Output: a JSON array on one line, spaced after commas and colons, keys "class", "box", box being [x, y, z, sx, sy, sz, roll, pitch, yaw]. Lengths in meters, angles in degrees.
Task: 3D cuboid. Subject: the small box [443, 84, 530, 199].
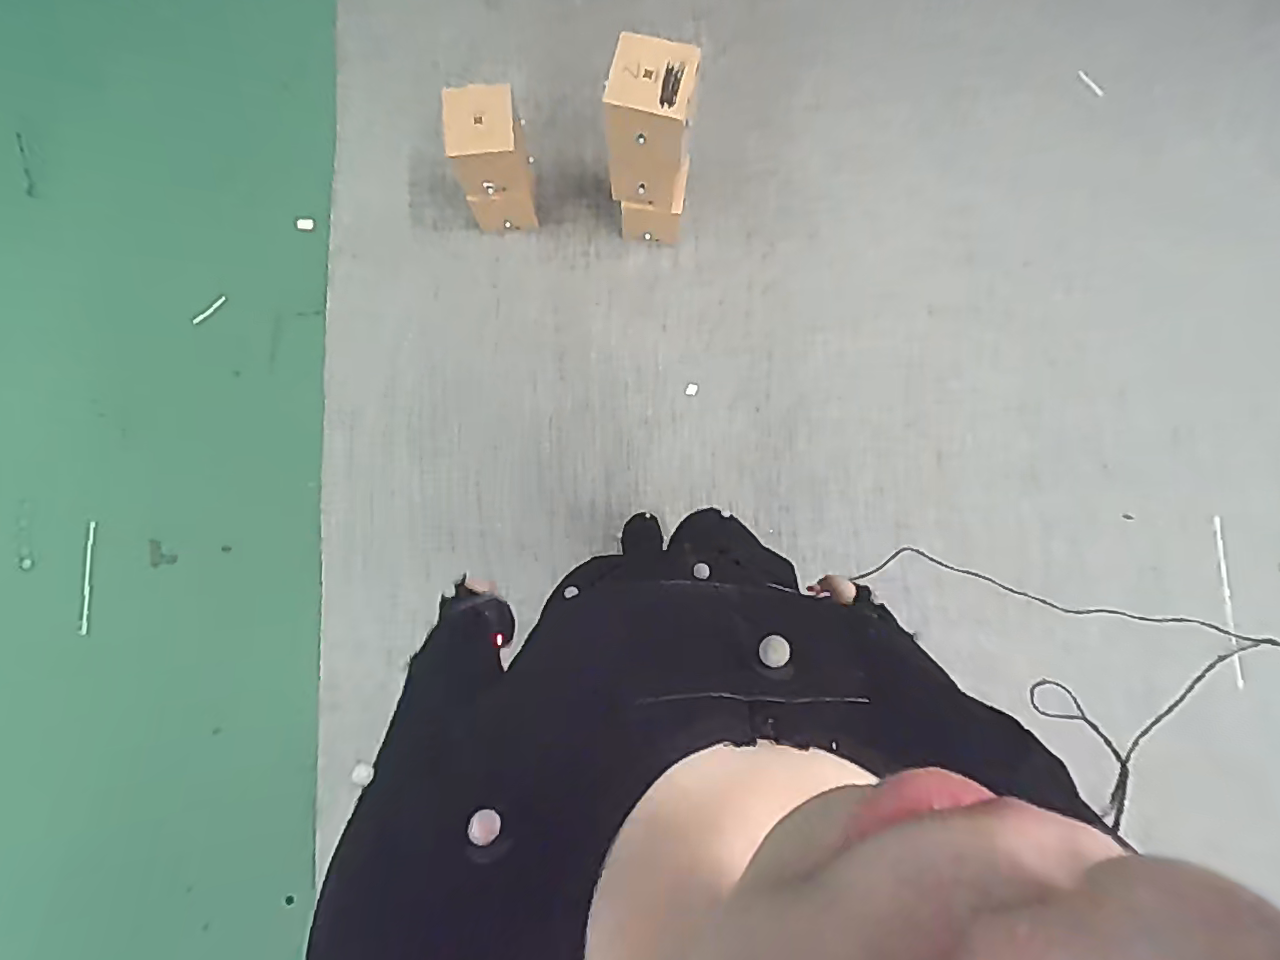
[{"class": "small box", "box": [-0.378, -0.839, 1.351, 0.168, 0.176, 0.179, -6, 85, 1]}]

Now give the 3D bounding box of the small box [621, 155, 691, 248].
[{"class": "small box", "box": [0.043, -0.781, 1.508, 0.168, 0.176, 0.179, 8, 85, 1]}]

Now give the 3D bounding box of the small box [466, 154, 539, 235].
[{"class": "small box", "box": [-0.384, -0.817, 1.512, 0.168, 0.176, 0.179, -6, 84, -1]}]

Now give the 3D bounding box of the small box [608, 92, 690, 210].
[{"class": "small box", "box": [0.024, -0.809, 1.348, 0.168, 0.176, 0.179, 12, 85, 2]}]
